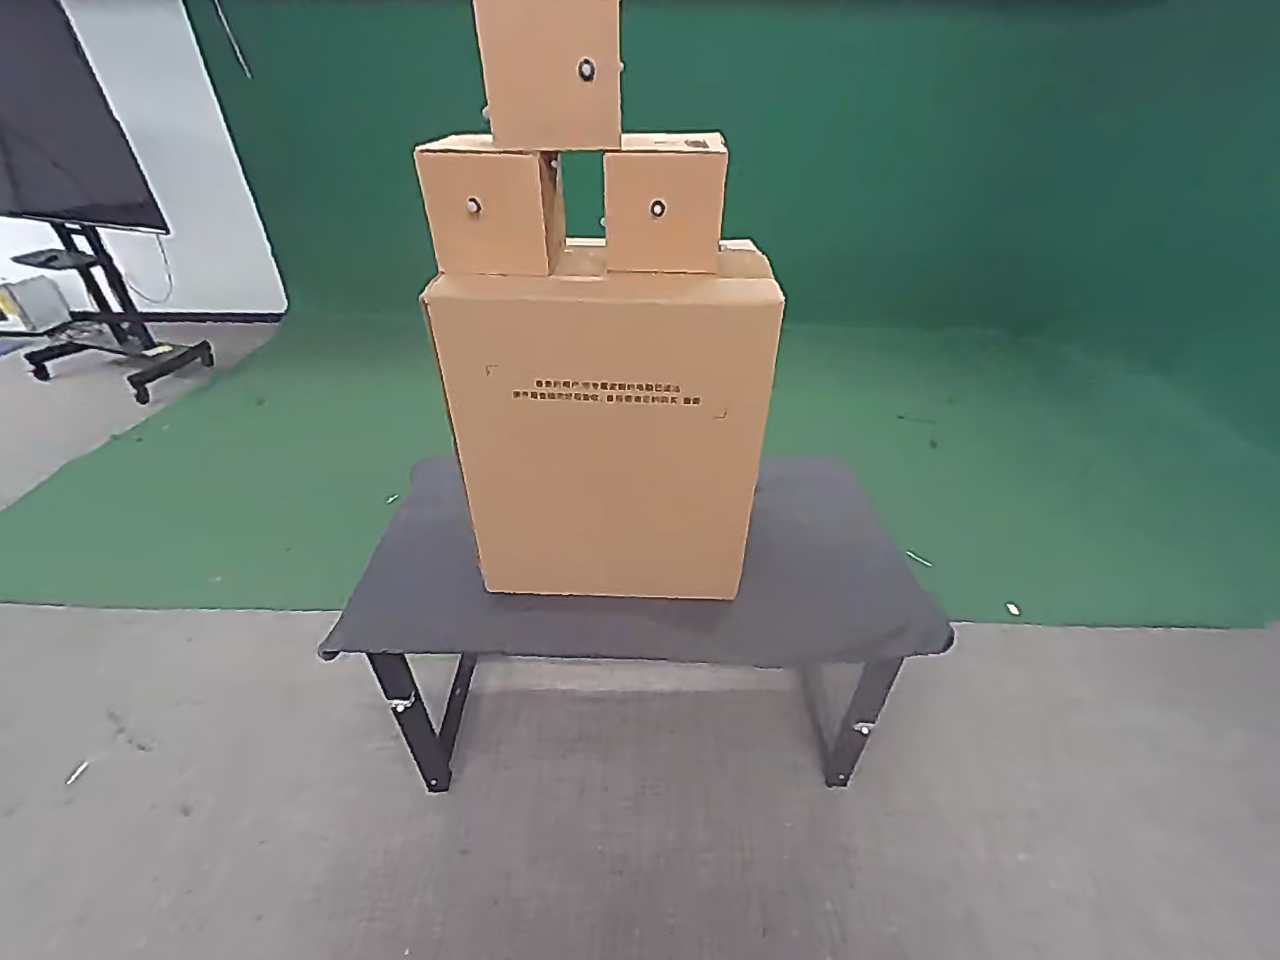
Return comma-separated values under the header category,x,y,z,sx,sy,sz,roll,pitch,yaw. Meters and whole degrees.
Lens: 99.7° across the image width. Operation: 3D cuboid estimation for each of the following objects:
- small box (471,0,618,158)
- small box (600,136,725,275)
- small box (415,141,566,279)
category,x,y,z,sx,sy,sz,roll,pitch,yaw
small box,-0.122,-0.556,0.754,0.179,0.176,0.168,-5,38,-5
small box,0.037,-0.436,0.862,0.179,0.176,0.168,1,39,3
small box,-0.221,-0.426,0.853,0.179,0.176,0.168,2,39,3
